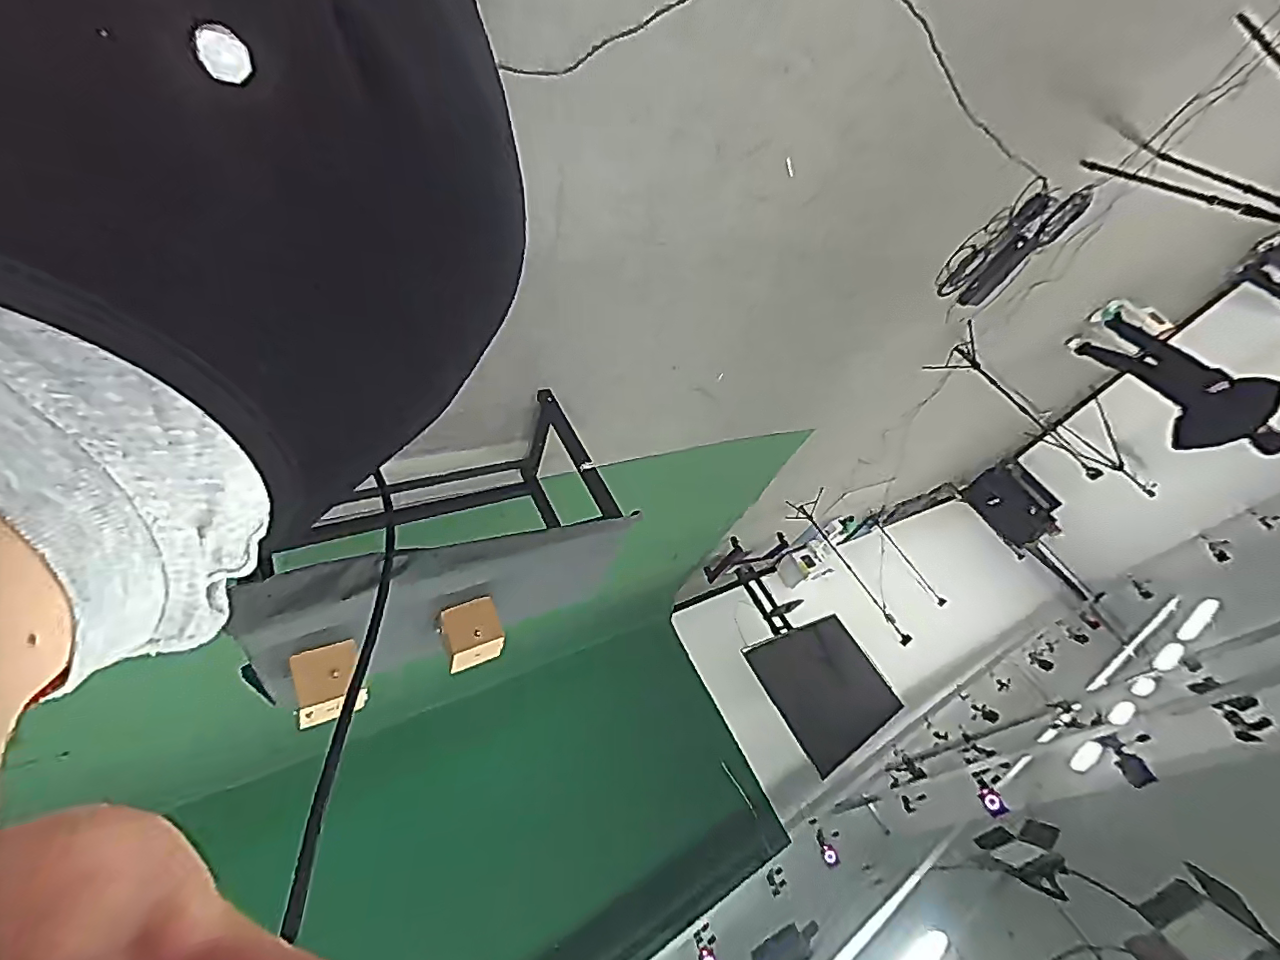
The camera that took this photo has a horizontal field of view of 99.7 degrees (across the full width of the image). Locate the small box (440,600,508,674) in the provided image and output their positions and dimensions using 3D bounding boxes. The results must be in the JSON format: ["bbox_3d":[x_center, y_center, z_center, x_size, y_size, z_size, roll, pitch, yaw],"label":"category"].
[{"bbox_3d":[-0.582,0.540,1.883,0.179,0.176,0.168,-13,147,-31],"label":"small box"}]

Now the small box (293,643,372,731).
[{"bbox_3d":[-0.935,0.622,1.640,0.179,0.176,0.168,-10,146,-38],"label":"small box"}]
